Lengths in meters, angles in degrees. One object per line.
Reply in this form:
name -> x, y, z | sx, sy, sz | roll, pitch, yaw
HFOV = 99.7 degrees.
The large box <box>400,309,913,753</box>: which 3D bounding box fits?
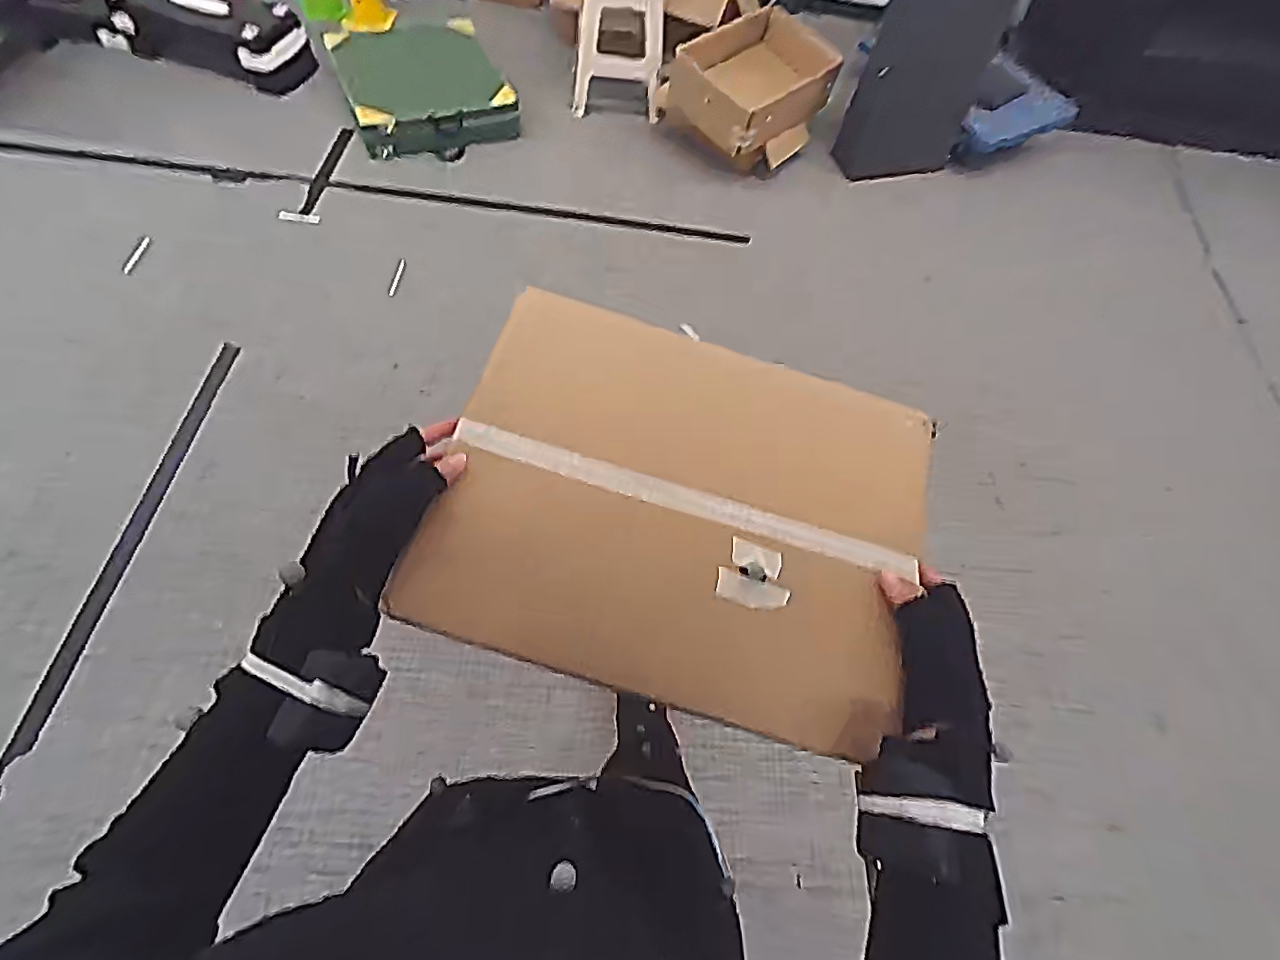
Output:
large box -> 0.020, 0.073, 0.614 | 0.408, 0.320, 0.320 | 18, 71, -1
